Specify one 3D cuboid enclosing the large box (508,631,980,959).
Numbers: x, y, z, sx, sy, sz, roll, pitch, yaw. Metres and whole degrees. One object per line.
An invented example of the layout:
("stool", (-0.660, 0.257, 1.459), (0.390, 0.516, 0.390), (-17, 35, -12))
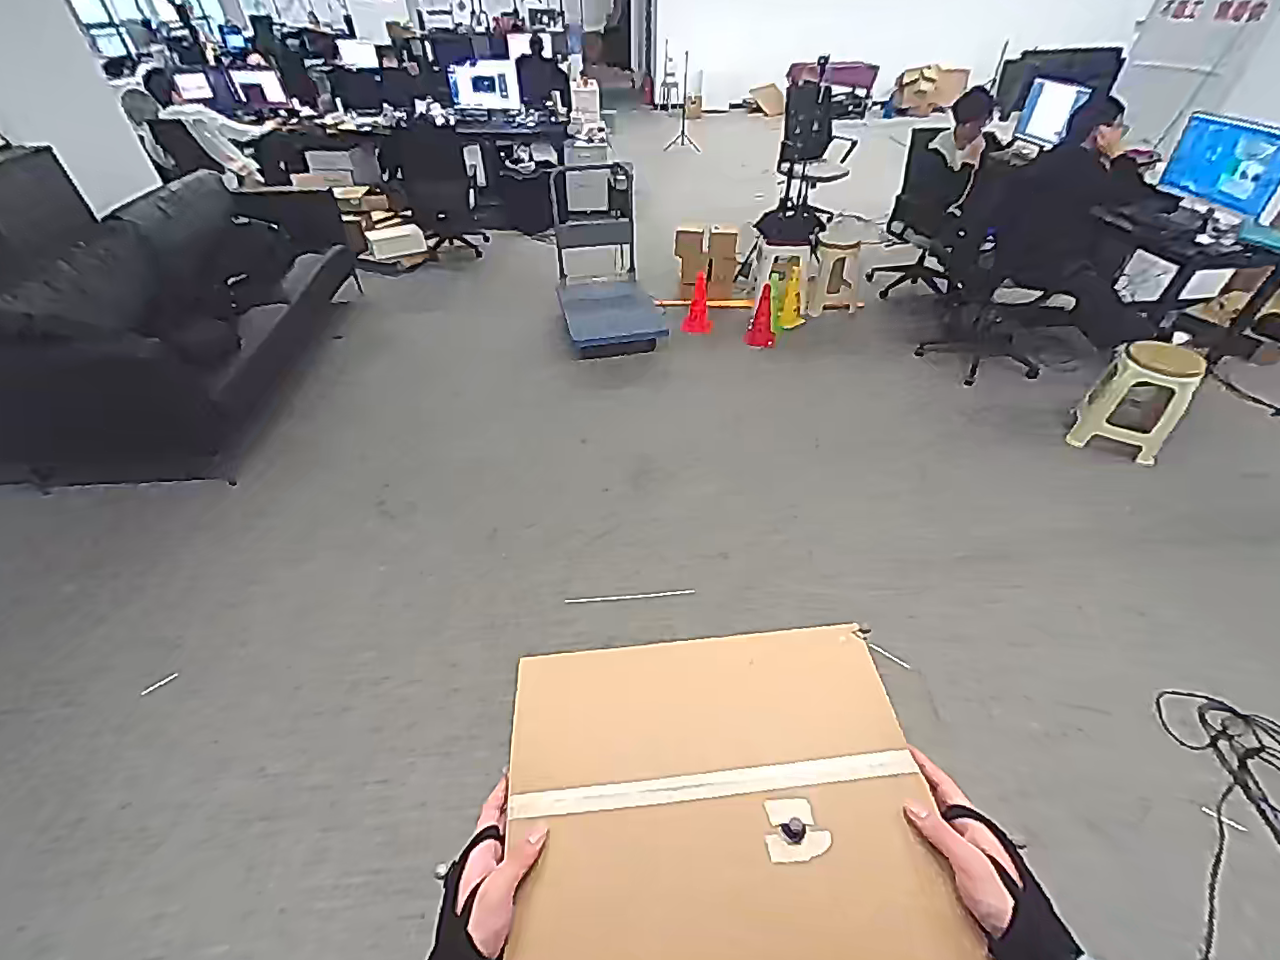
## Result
("large box", (0.078, 0.417, 0.648), (0.408, 0.320, 0.320), (-6, 45, -2))
